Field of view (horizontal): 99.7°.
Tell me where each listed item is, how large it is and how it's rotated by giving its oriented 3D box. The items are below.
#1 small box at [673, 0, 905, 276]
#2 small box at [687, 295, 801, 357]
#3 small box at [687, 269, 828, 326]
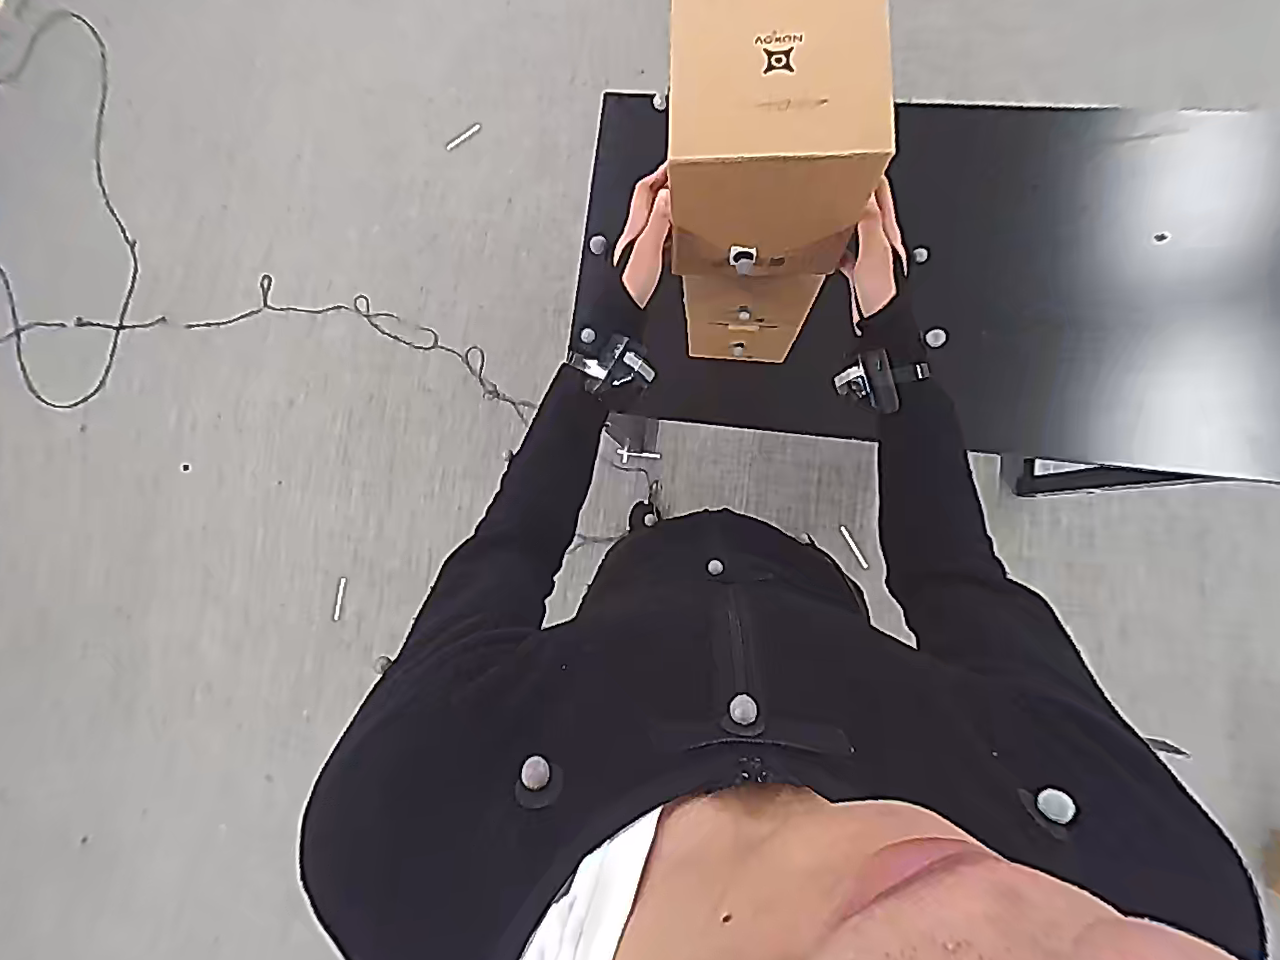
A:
[{"bbox_3d":[0.113,-0.305,0.478,0.168,0.176,0.179,0,81,5],"label":"small box"},{"bbox_3d":[0.168,-0.304,0.860,0.168,0.176,0.179,5,87,7],"label":"small box"},{"bbox_3d":[0.150,-0.319,0.697,0.168,0.176,0.179,6,86,8],"label":"small box"}]
